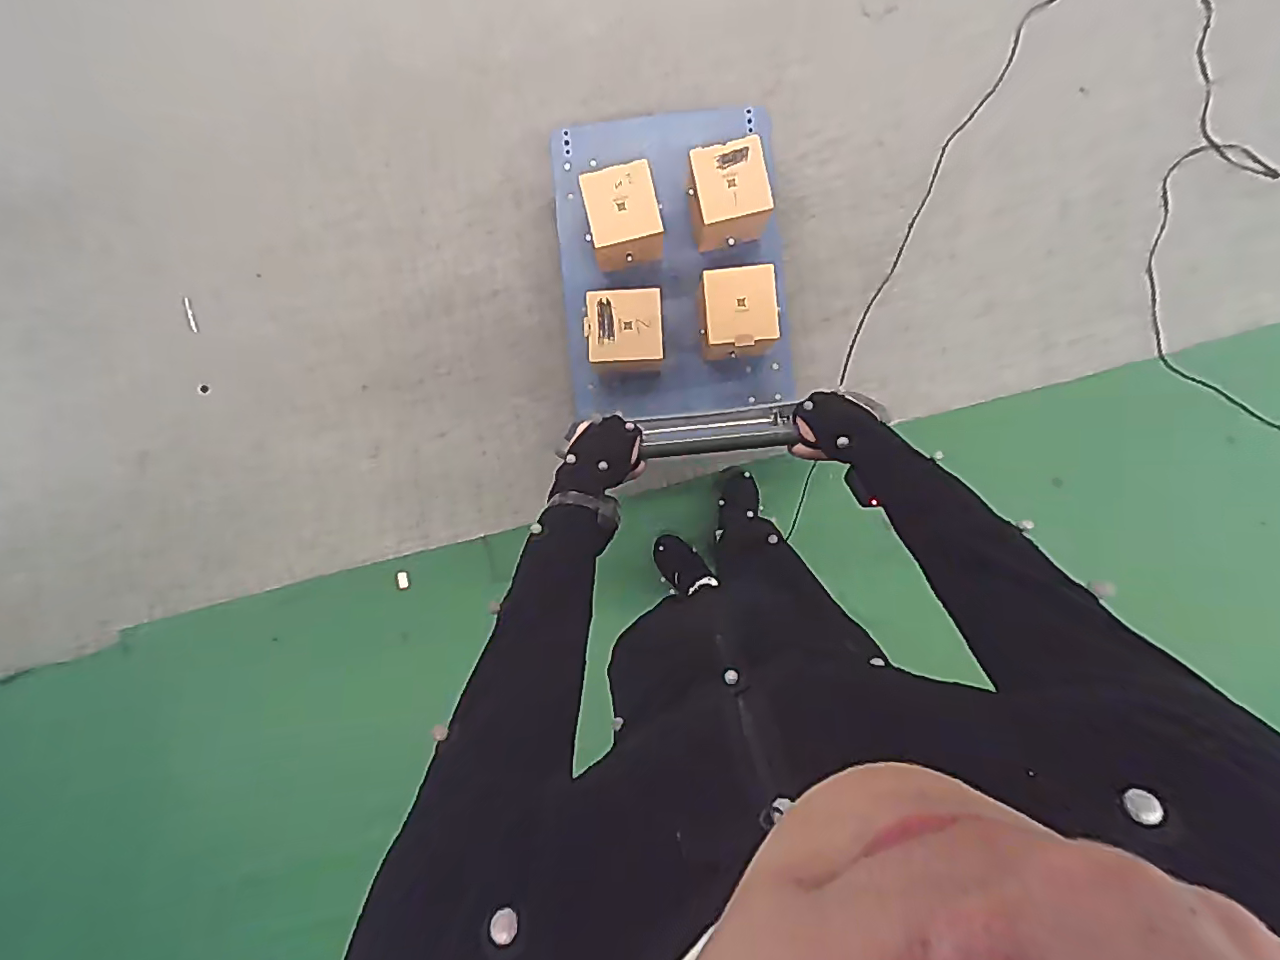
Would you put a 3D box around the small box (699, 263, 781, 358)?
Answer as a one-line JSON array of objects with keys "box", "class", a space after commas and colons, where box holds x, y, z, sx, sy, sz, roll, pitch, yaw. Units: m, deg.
[{"box": [0.239, -0.409, 1.327, 0.168, 0.176, 0.179, -6, 92, 2], "class": "small box"}]

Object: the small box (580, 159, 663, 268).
[{"box": [-0.041, -0.640, 1.328, 0.168, 0.176, 0.179, -13, 91, 1], "class": "small box"}]

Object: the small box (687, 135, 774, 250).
[{"box": [0.213, -0.693, 1.320, 0.168, 0.176, 0.179, -13, 92, 2], "class": "small box"}]
